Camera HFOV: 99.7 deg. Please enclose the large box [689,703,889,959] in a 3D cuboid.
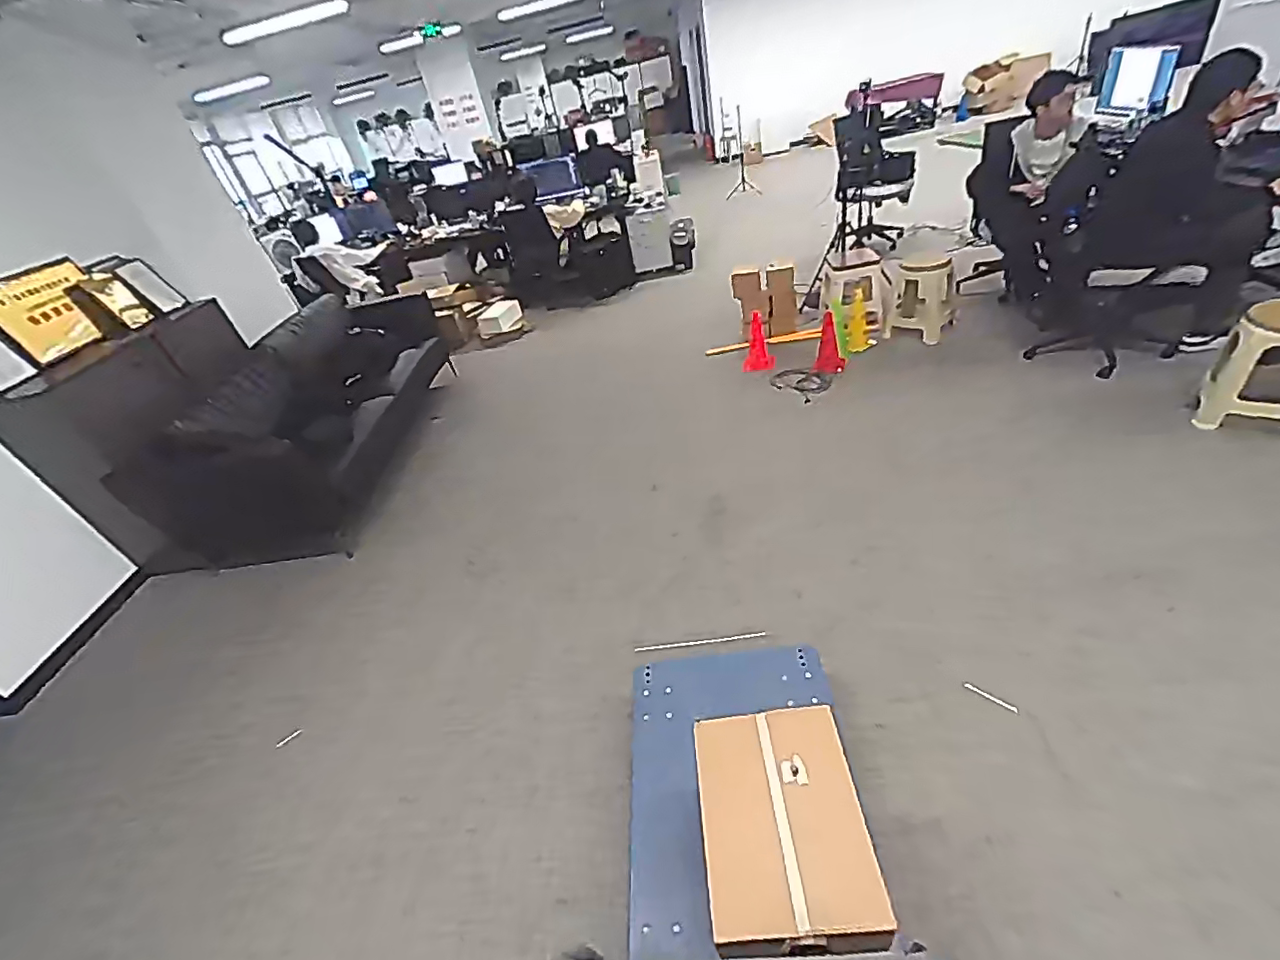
[{"bbox_3d":[0.299,0.764,1.166,0.320,0.320,0.408,-9,37,6],"label":"large box"}]
